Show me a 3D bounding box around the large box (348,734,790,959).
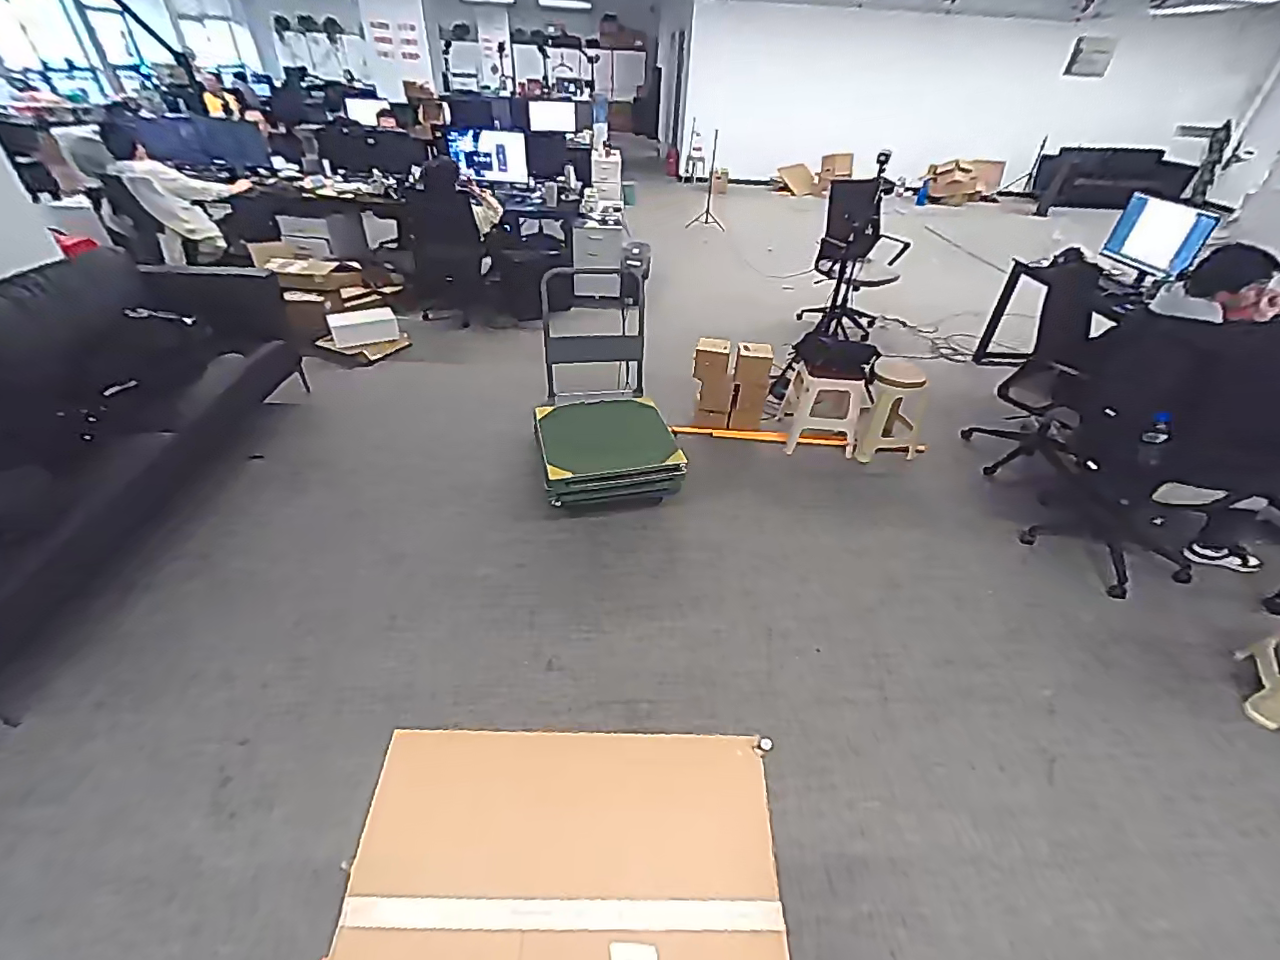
[{"bbox_3d":[-0.069,0.500,0.621,0.408,0.320,0.320,1,51,-2],"label":"large box"}]
